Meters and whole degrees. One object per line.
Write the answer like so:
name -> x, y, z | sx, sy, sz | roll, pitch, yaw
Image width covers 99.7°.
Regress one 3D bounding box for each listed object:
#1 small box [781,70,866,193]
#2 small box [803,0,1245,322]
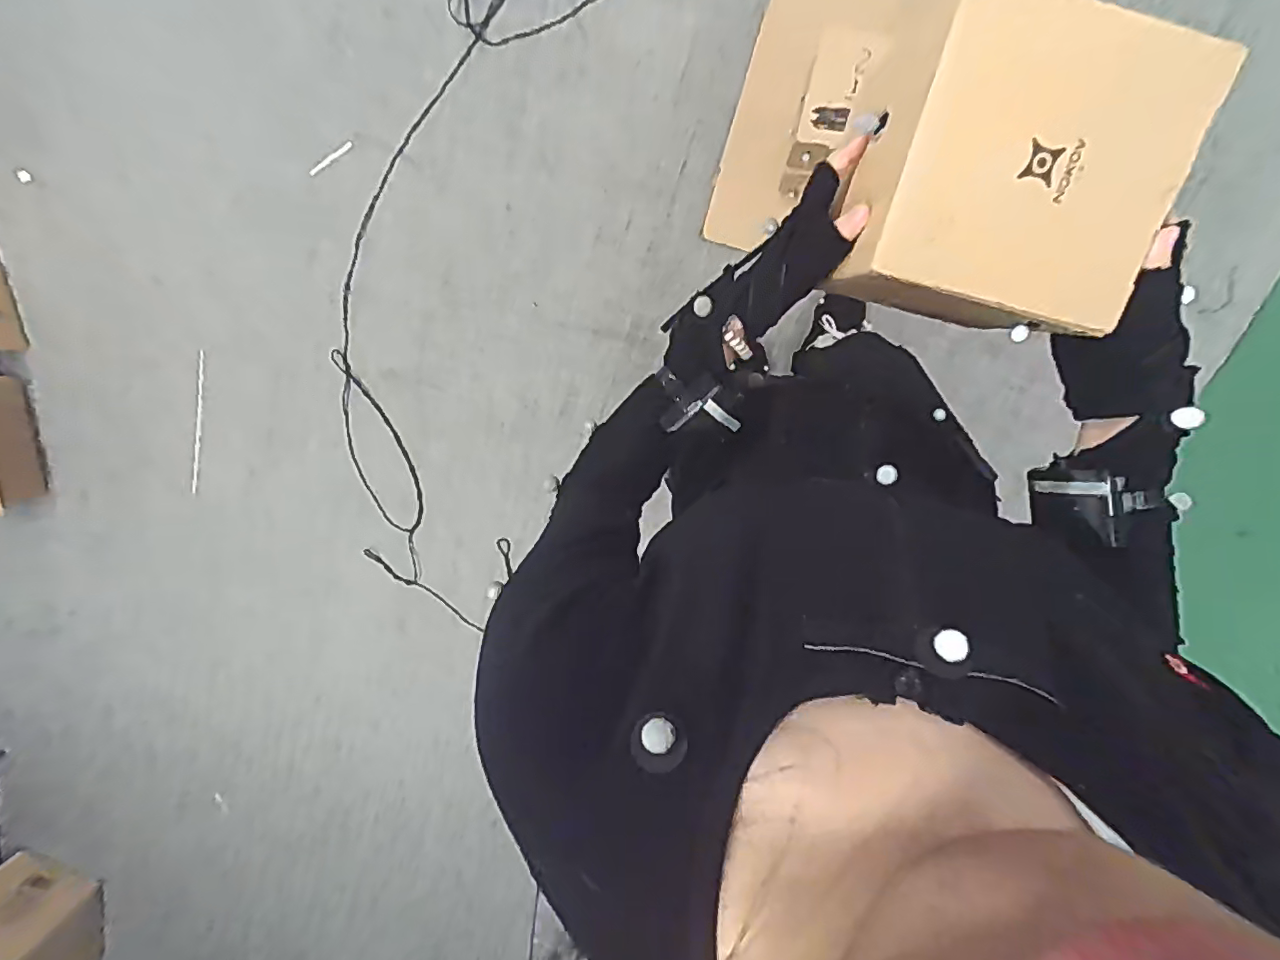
small box -> 0.405, -0.721, 1.146 | 0.168, 0.176, 0.179 | 14, 108, 4
small box -> 0.244, -0.221, 0.403 | 0.179, 0.176, 0.168 | 13, 107, -5
